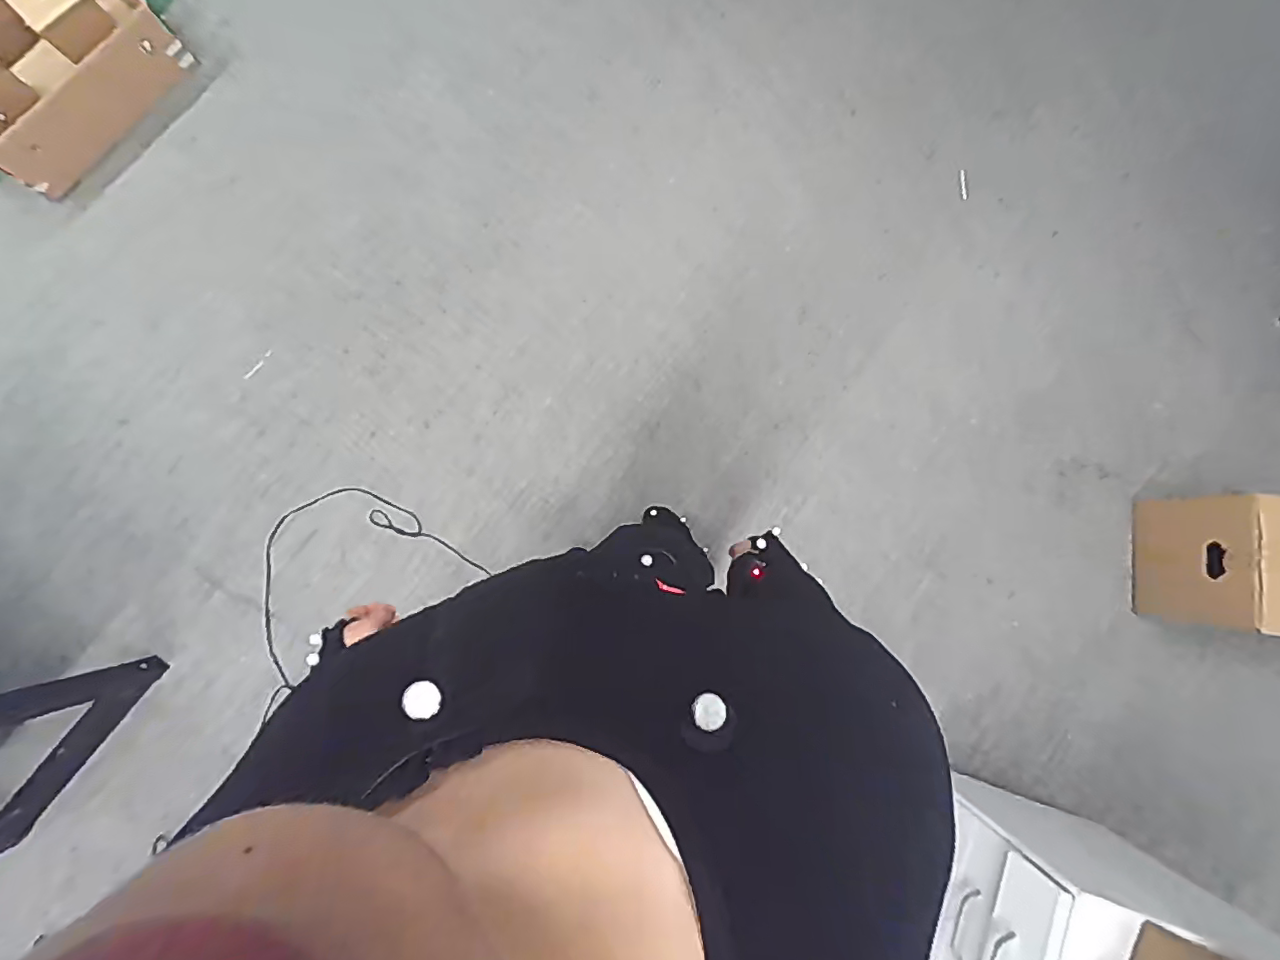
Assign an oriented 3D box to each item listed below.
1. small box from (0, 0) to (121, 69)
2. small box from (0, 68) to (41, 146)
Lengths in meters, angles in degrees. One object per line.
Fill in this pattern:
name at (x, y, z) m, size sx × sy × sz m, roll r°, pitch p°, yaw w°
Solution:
small box at (-1.623, -1.302, 1.495) m, size 0.168 × 0.176 × 0.179 m, roll -44°, pitch 88°, yaw -4°
small box at (-1.818, -1.062, 1.465) m, size 0.168 × 0.176 × 0.179 m, roll 41°, pitch 85°, yaw 2°
